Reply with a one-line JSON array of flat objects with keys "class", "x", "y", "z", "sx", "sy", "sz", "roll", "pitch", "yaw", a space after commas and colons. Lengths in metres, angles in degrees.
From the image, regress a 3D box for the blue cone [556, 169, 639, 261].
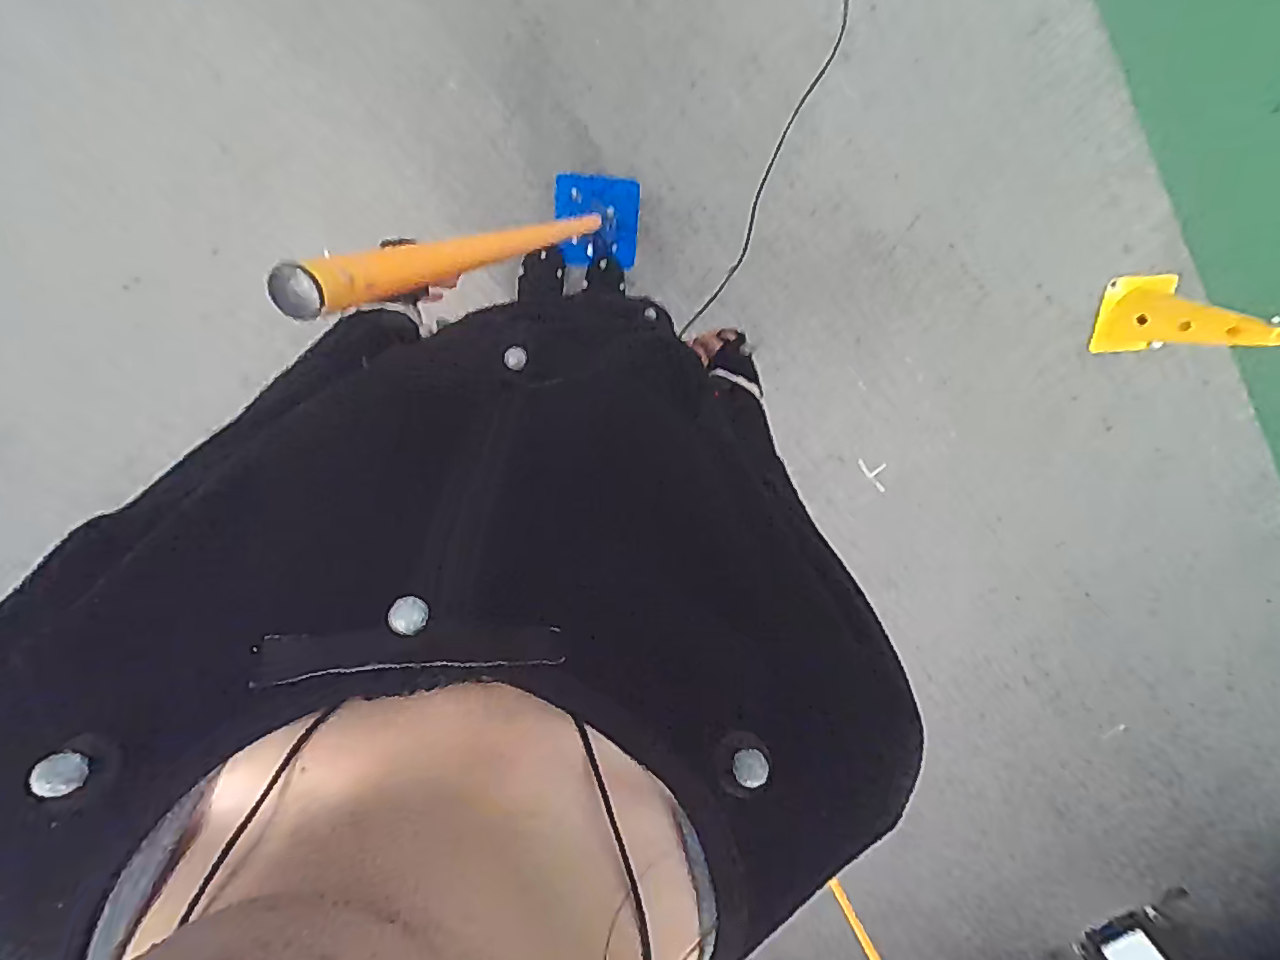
[{"class": "blue cone", "x": -0.090, "y": -0.545, "z": 1.119, "sx": 0.193, "sy": 0.380, "sz": 0.192, "roll": 2, "pitch": 116, "yaw": -5}]
